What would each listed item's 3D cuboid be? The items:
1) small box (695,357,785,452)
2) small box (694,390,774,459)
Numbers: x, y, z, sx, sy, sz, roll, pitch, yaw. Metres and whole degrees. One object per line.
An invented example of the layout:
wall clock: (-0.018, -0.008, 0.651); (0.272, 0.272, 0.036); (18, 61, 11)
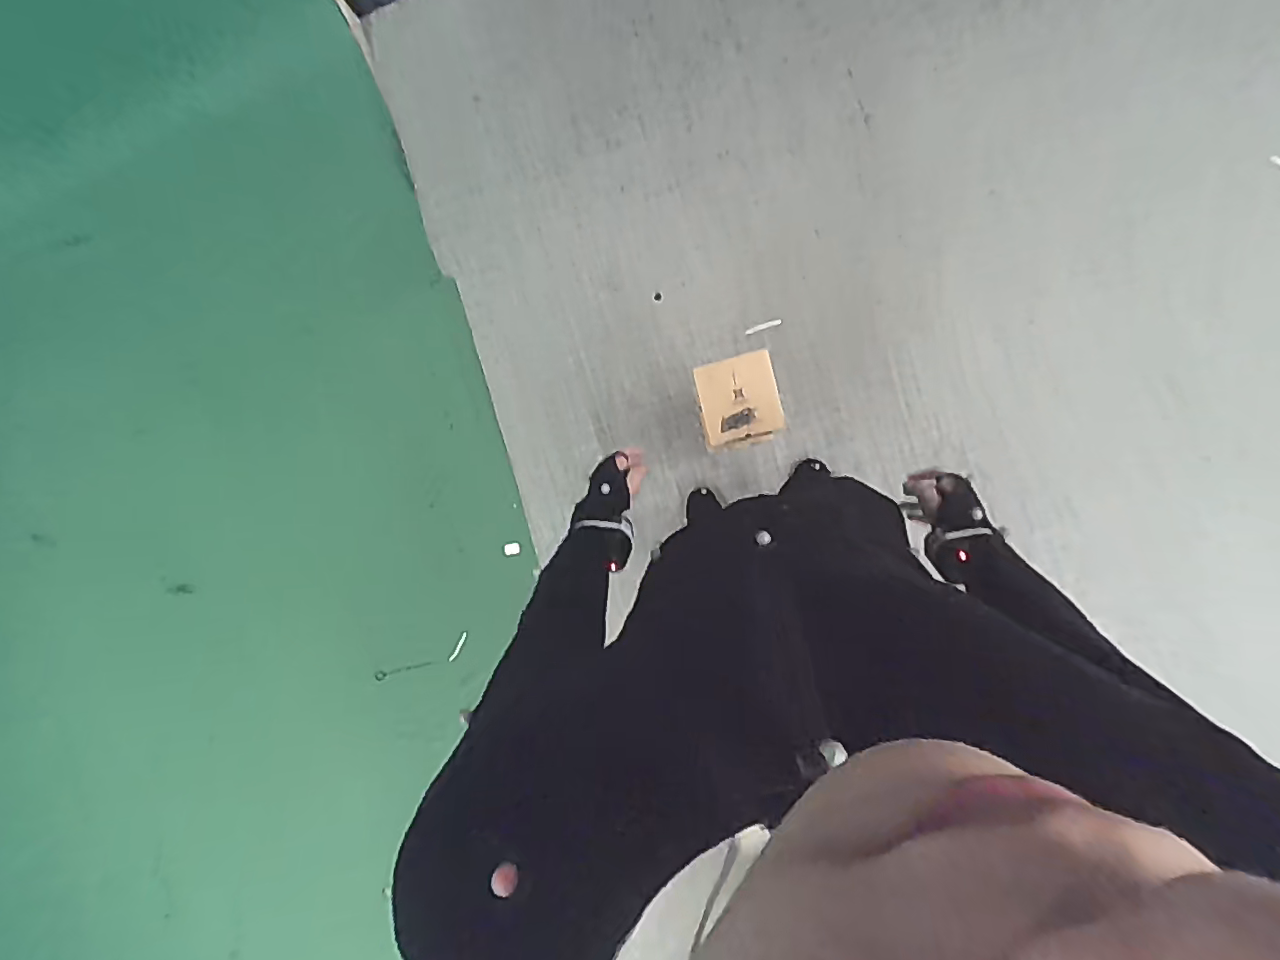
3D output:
small box: (0.227, -0.165, 1.244); (0.168, 0.176, 0.179); (-13, 88, 7)
small box: (0.240, -0.155, 1.392); (0.168, 0.176, 0.179); (-12, 90, 8)
